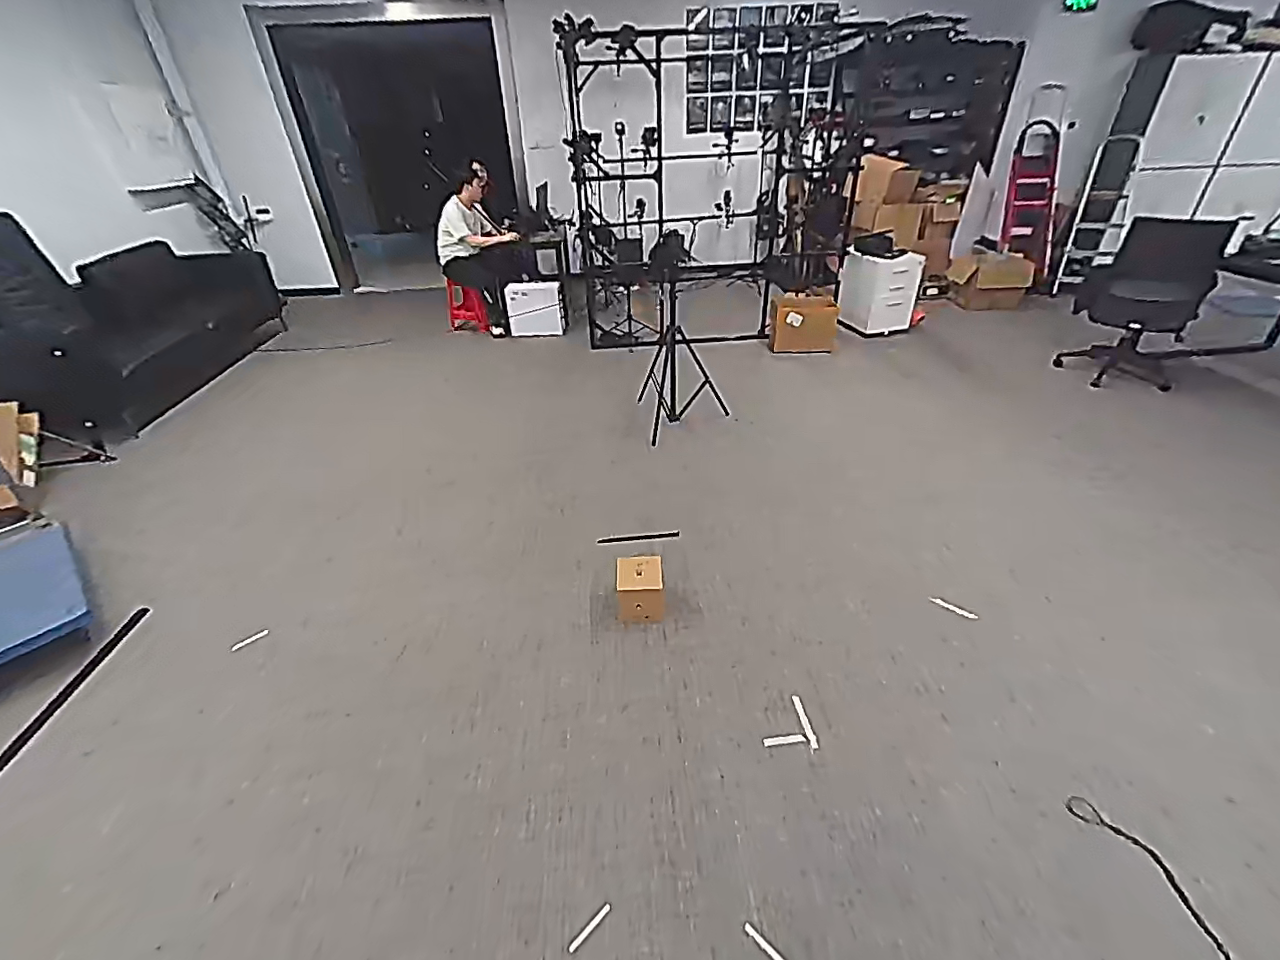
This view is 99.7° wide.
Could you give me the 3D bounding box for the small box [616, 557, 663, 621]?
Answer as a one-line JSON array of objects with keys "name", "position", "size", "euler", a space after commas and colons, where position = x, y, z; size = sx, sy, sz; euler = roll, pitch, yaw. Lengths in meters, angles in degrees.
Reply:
[{"name": "small box", "position": [0.001, 0.412, 2.029], "size": [0.168, 0.176, 0.179], "euler": [-2, 33, 1]}]
